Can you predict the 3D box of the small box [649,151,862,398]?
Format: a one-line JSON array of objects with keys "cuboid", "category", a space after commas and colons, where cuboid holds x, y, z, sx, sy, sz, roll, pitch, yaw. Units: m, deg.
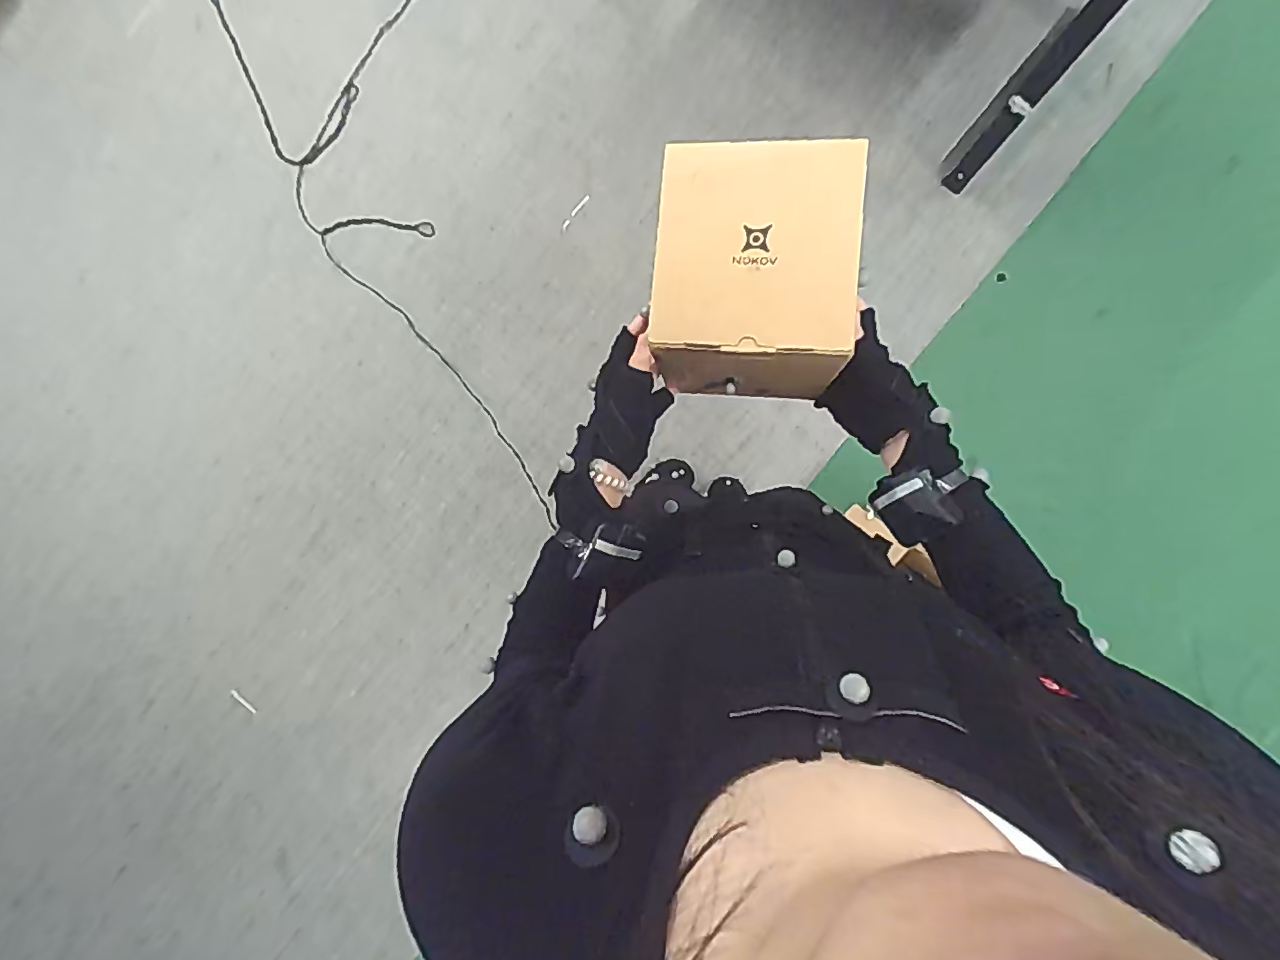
[{"cuboid": [0.107, -0.188, 0.534, 0.168, 0.176, 0.179, 5, 88, 9], "category": "small box"}]
